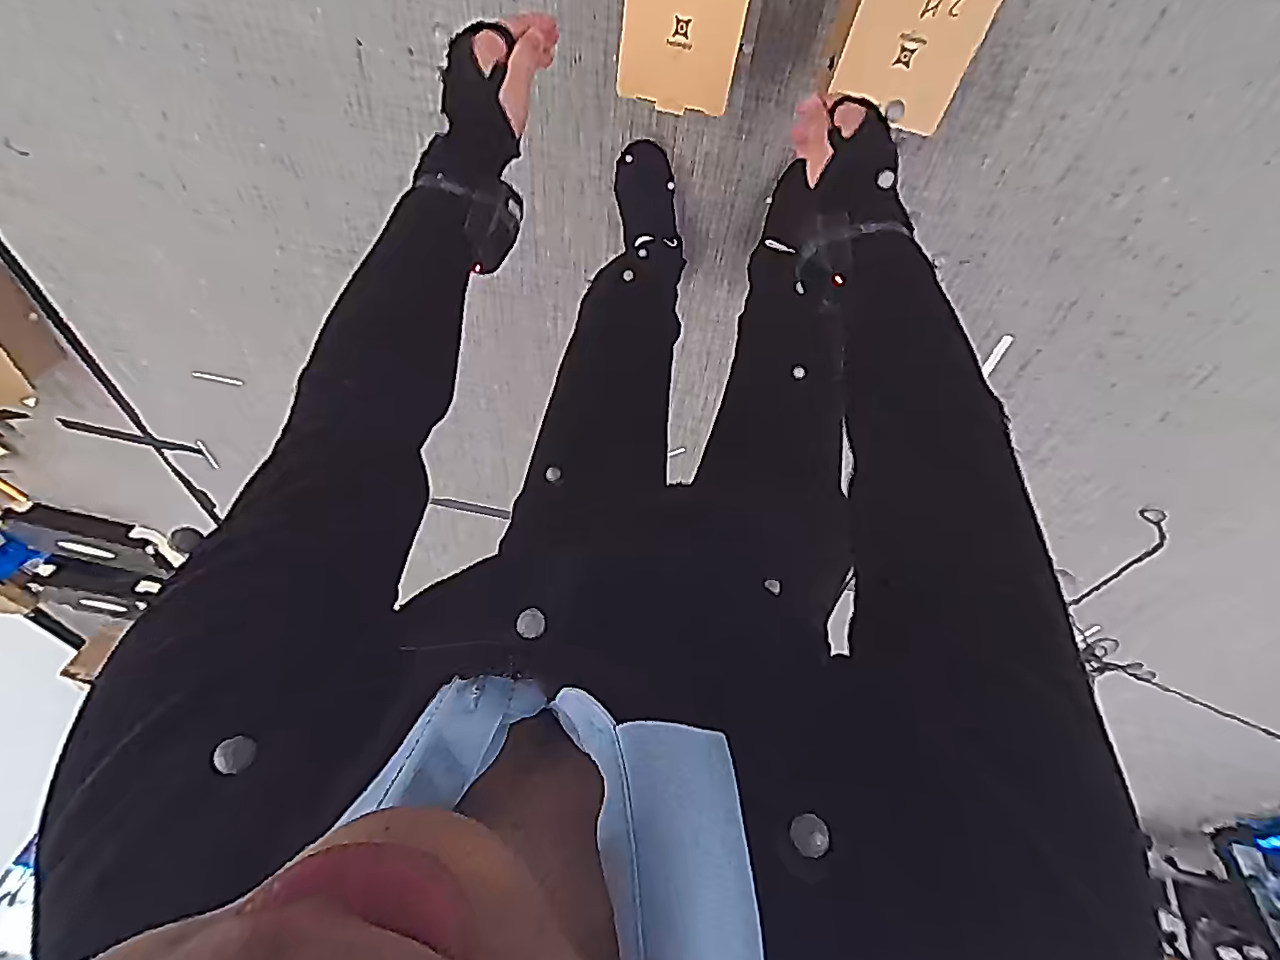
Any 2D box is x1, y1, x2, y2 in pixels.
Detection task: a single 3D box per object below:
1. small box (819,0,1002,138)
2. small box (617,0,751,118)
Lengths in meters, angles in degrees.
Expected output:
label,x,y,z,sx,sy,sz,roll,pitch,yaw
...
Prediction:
label,x,y,z,sx,sy,sz,roll,pitch,yaw
small box,0.363,-0.620,0.758,0.168,0.176,0.179,13,138,-2
small box,0.068,-0.663,0.784,0.168,0.176,0.179,12,138,0
